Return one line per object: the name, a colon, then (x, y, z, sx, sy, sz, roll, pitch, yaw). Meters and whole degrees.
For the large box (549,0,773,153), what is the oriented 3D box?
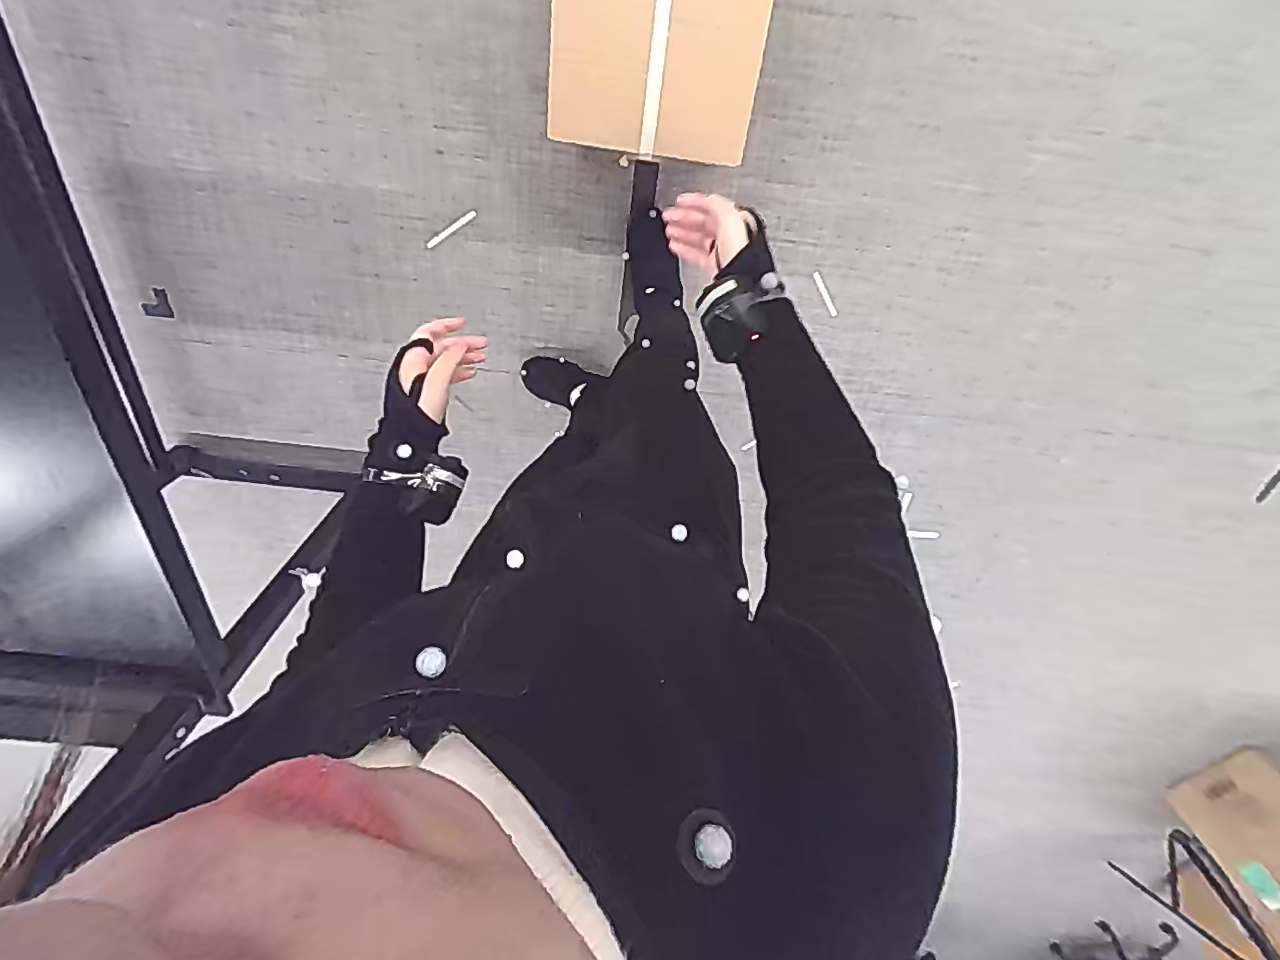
large box: (0.037, -0.773, 0.864, 0.320, 0.320, 0.408, 6, 122, -4)
